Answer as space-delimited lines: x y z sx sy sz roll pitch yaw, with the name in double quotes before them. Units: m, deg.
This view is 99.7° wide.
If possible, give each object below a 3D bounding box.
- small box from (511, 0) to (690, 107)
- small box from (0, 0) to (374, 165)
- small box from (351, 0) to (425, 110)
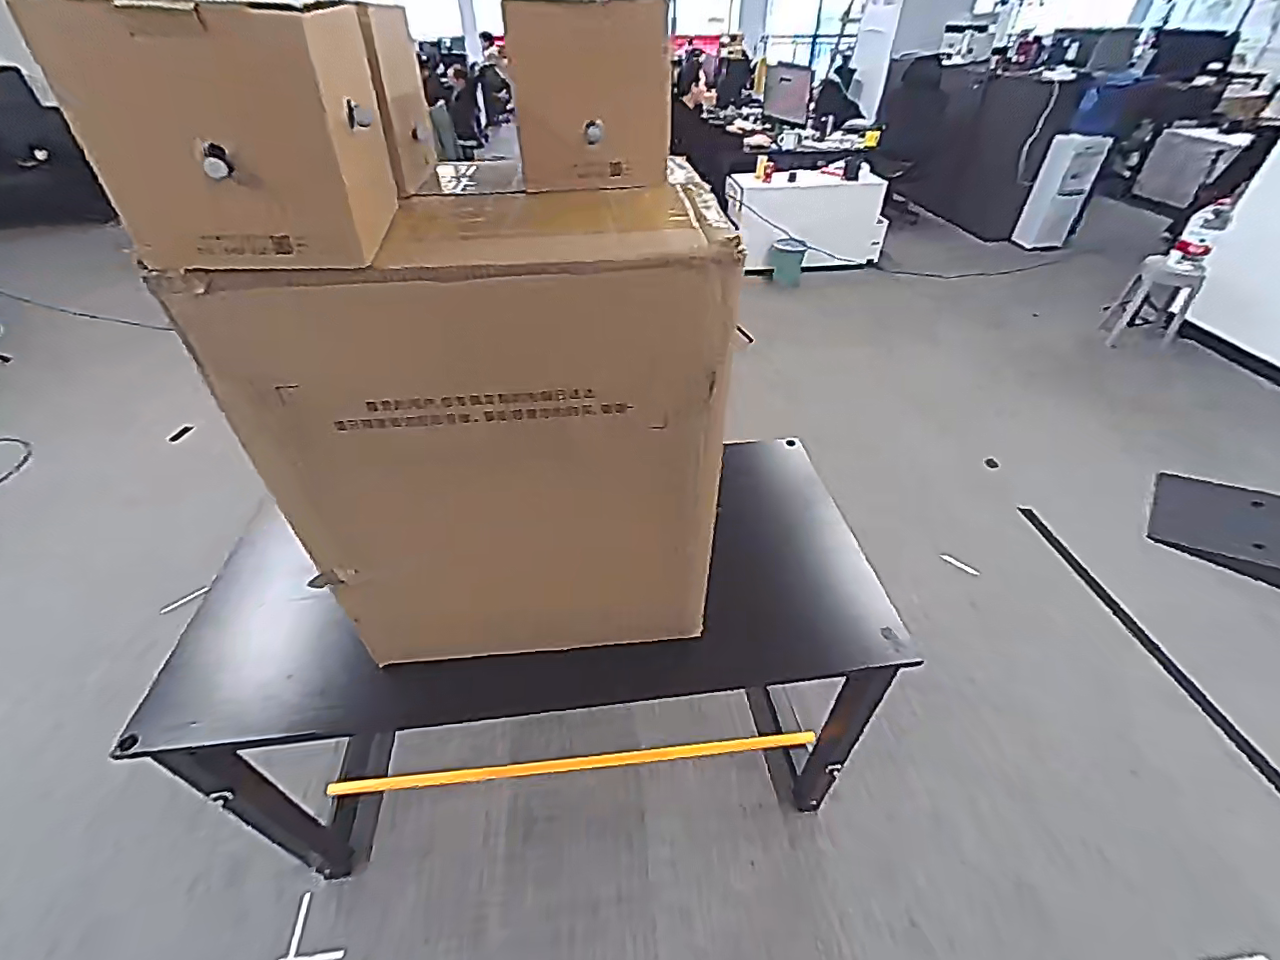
"small box" -0.045 -0.490 0.551 0.168 0.176 0.179 -6 40 -5
"small box" -0.296 -0.327 0.365 0.168 0.176 0.179 -5 45 -11
"small box" -0.328 -0.461 0.518 0.179 0.176 0.168 -3 40 -5
